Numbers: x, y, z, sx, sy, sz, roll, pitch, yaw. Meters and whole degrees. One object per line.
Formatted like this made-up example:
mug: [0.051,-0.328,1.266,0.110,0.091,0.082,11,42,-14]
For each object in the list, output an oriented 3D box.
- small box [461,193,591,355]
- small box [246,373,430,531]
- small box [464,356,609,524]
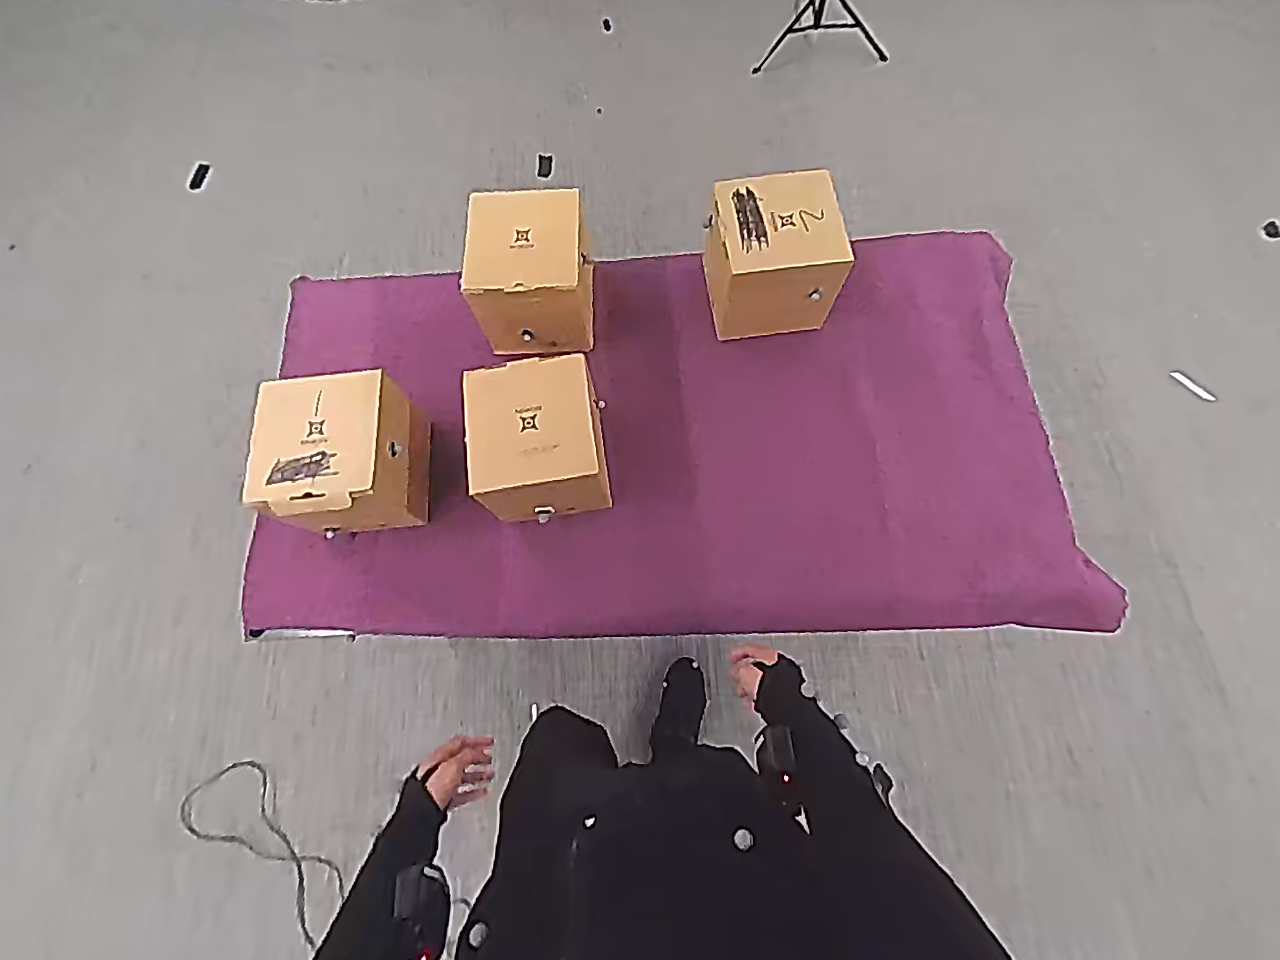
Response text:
small box: [-0.169,-0.318,0.854,0.168,0.176,0.179,-2,73,1]
small box: [-0.415,-0.029,0.773,0.168,0.176,0.179,-6,71,0]
small box: [-0.141,-0.049,0.771,0.168,0.176,0.179,-9,72,0]
